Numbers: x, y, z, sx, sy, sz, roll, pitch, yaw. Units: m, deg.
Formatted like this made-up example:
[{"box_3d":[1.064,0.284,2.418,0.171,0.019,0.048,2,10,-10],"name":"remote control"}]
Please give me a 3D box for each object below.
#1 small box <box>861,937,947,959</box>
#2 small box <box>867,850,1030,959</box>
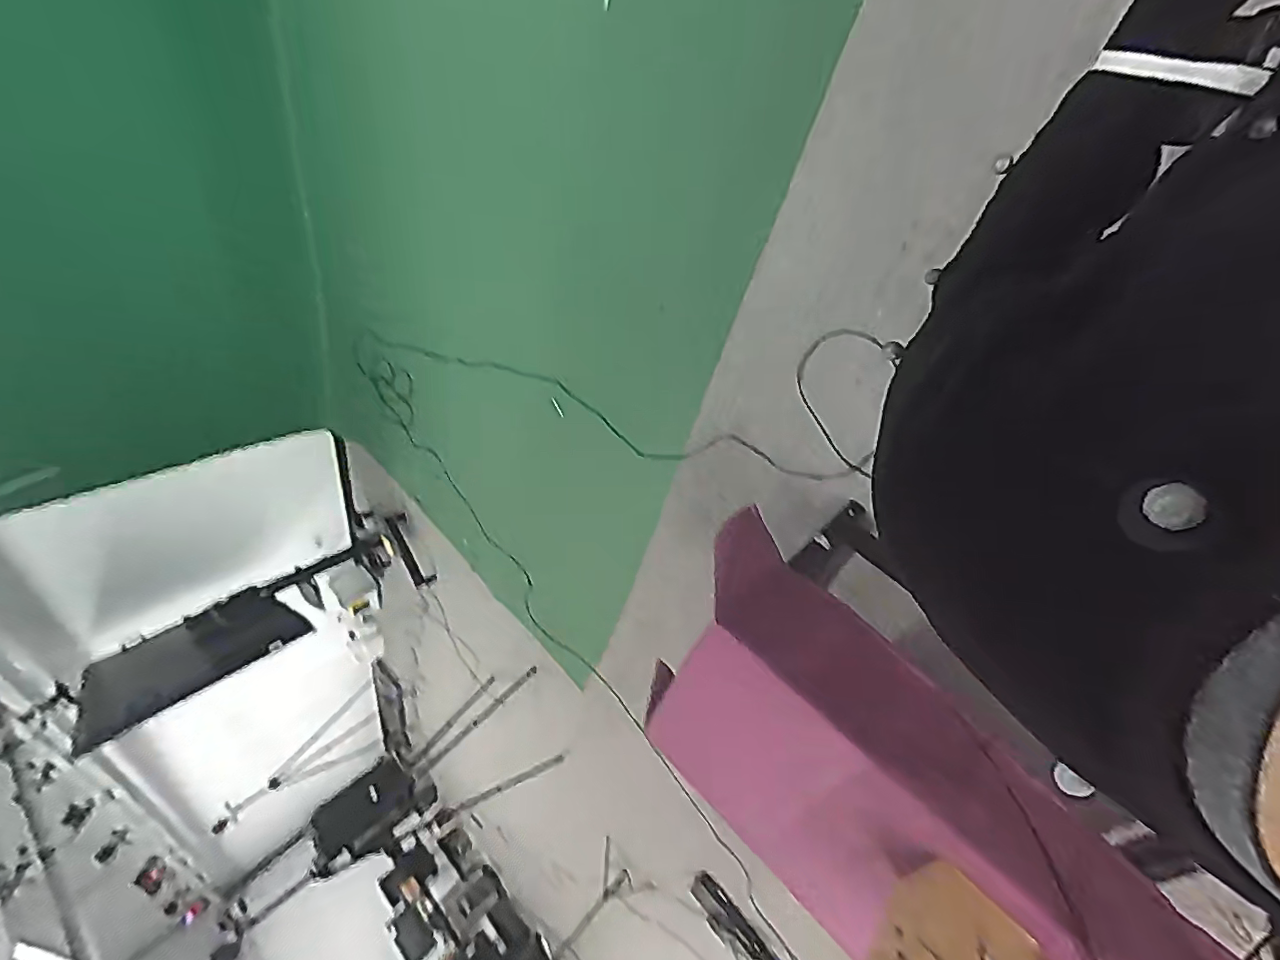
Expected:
[{"box_3d":[0.442,0.874,0.857,0.179,0.176,0.168,40,136,22],"name":"small box"},{"box_3d":[0.552,0.816,0.966,0.179,0.176,0.168,39,135,24],"name":"small box"}]
